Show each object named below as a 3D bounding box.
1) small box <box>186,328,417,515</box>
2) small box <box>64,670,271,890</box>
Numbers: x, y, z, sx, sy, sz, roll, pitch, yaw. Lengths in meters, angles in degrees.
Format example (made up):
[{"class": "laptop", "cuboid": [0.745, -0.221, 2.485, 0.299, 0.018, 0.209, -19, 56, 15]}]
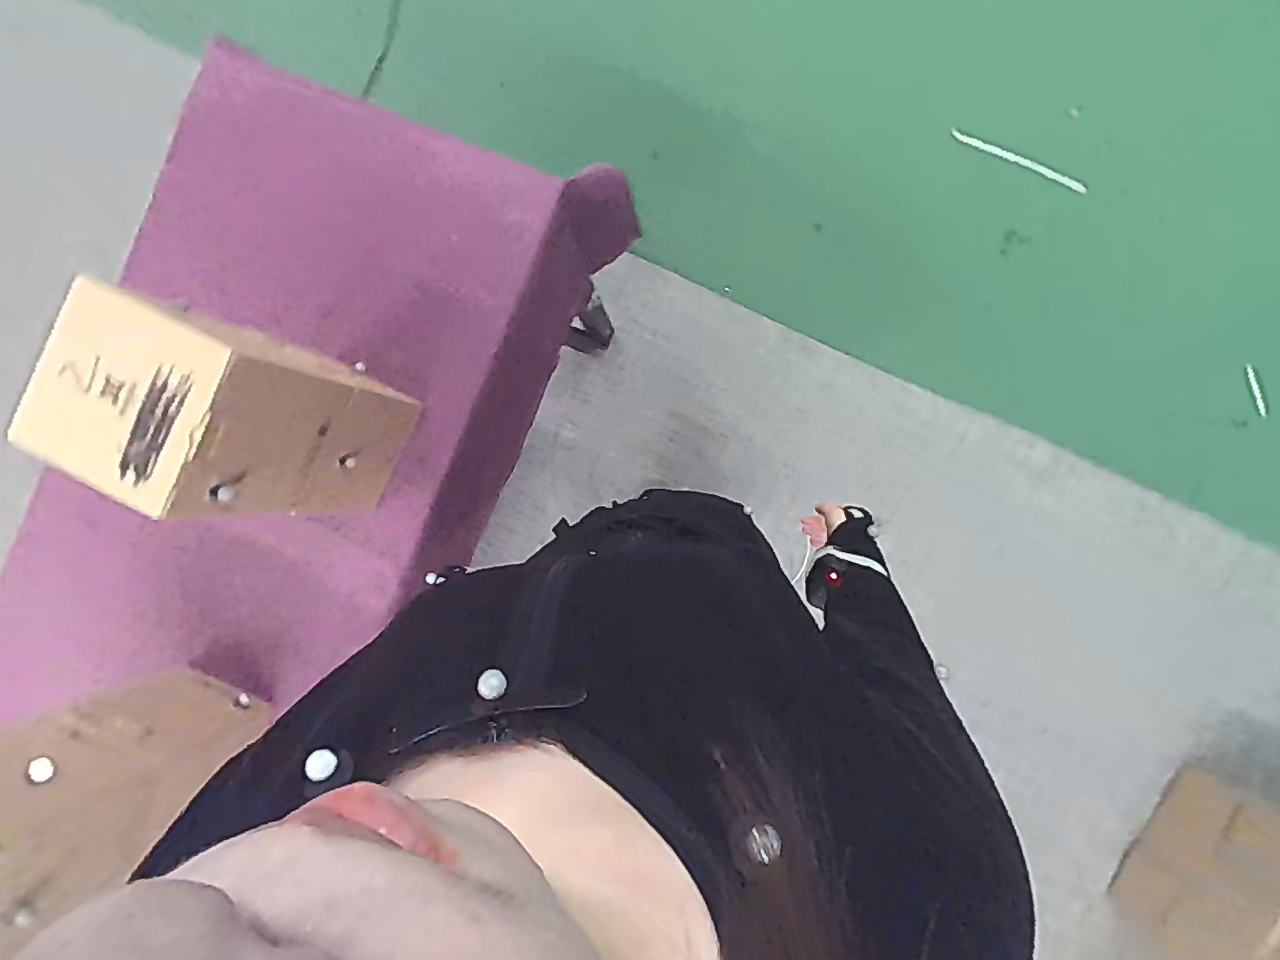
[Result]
[{"class": "small box", "cuboid": [-0.434, -0.069, 0.725, 0.168, 0.176, 0.179, 27, 92, 4]}, {"class": "small box", "cuboid": [-0.652, 0.388, 0.736, 0.168, 0.176, 0.179, 20, 92, 5]}]
